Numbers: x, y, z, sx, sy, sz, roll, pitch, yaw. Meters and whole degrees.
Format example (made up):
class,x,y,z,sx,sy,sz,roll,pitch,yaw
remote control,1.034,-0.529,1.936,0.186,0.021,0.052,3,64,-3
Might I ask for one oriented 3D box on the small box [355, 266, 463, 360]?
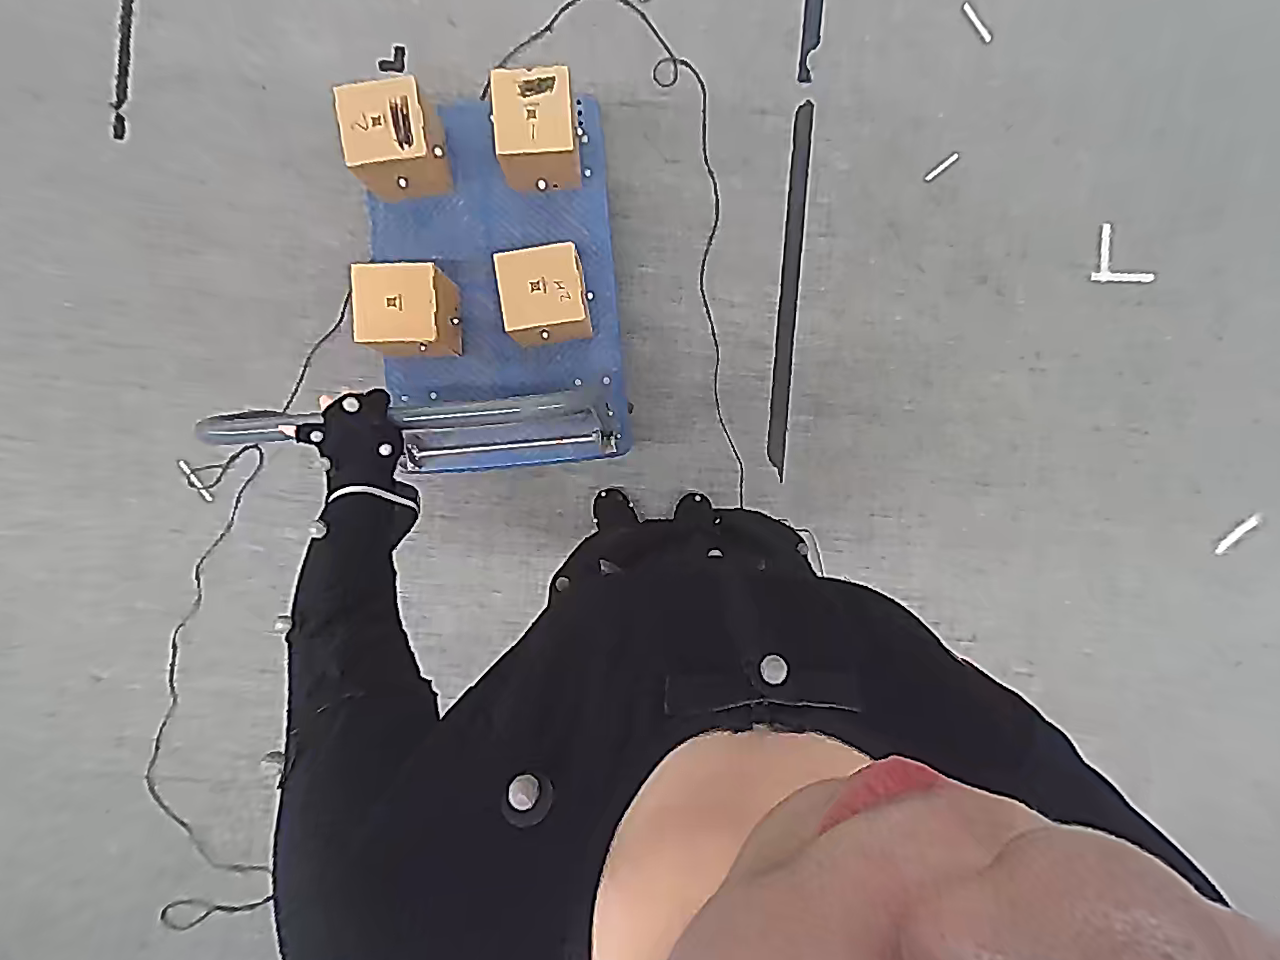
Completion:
class,x,y,z,sx,sy,sz,roll,pitch,yaw
small box,-0.515,-0.370,1.222,0.179,0.176,0.168,-2,92,-1

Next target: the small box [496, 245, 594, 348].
class,x,y,z,sx,sy,sz,roll,pitch,yaw
small box,-0.207,-0.404,1.220,0.179,0.176,0.168,-9,92,1

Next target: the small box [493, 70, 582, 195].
class,x,y,z,sx,sy,sz,roll,pitch,yaw
small box,-0.222,-0.768,1.207,0.168,0.176,0.179,-4,93,0
